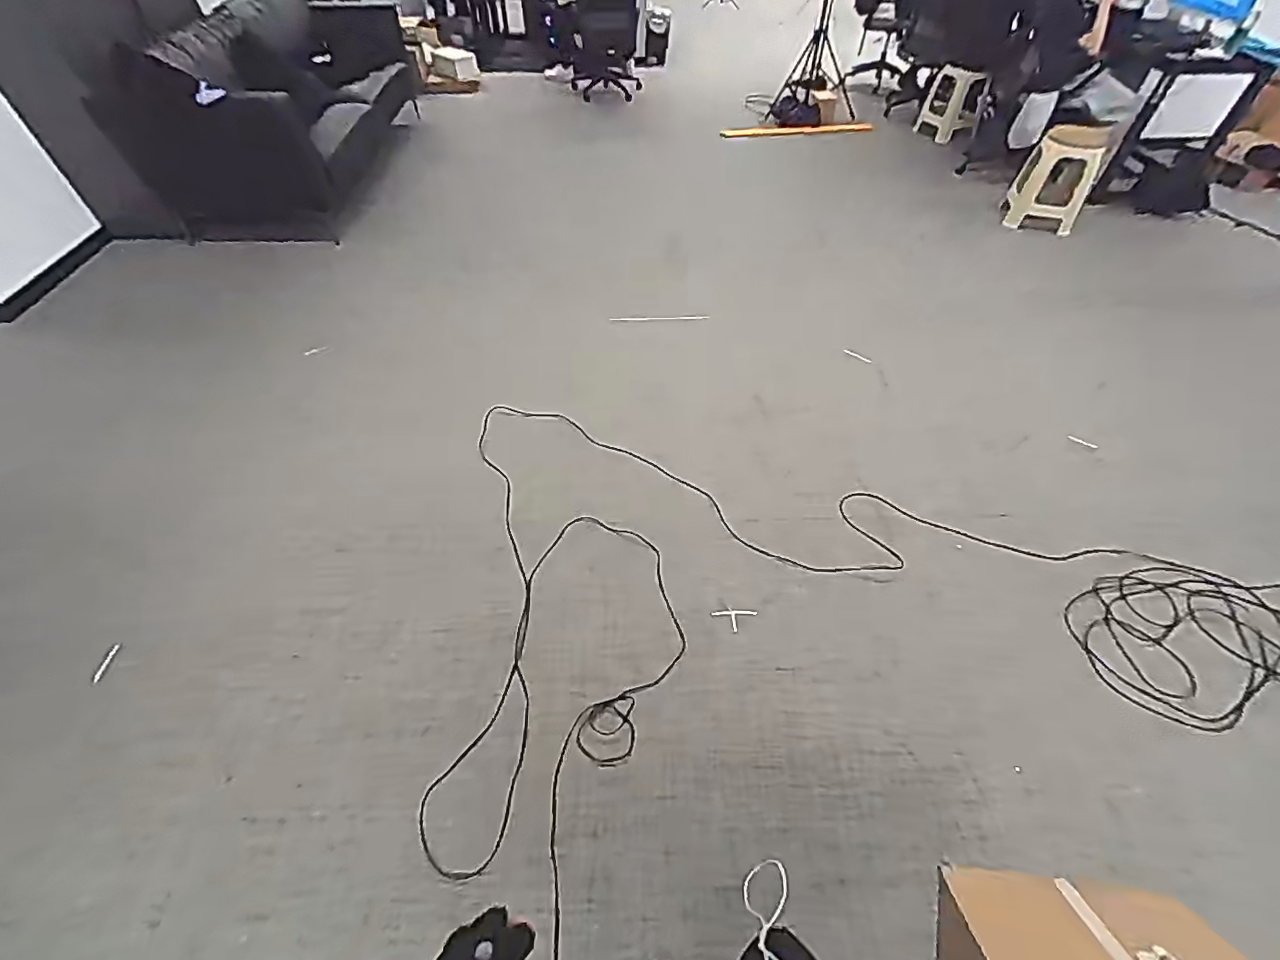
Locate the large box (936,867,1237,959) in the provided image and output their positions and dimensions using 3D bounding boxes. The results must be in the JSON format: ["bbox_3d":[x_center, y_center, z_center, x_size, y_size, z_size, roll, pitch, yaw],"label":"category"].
[{"bbox_3d":[0.557,0.733,0.587,0.320,0.408,0.320,2,93,9],"label":"large box"}]
